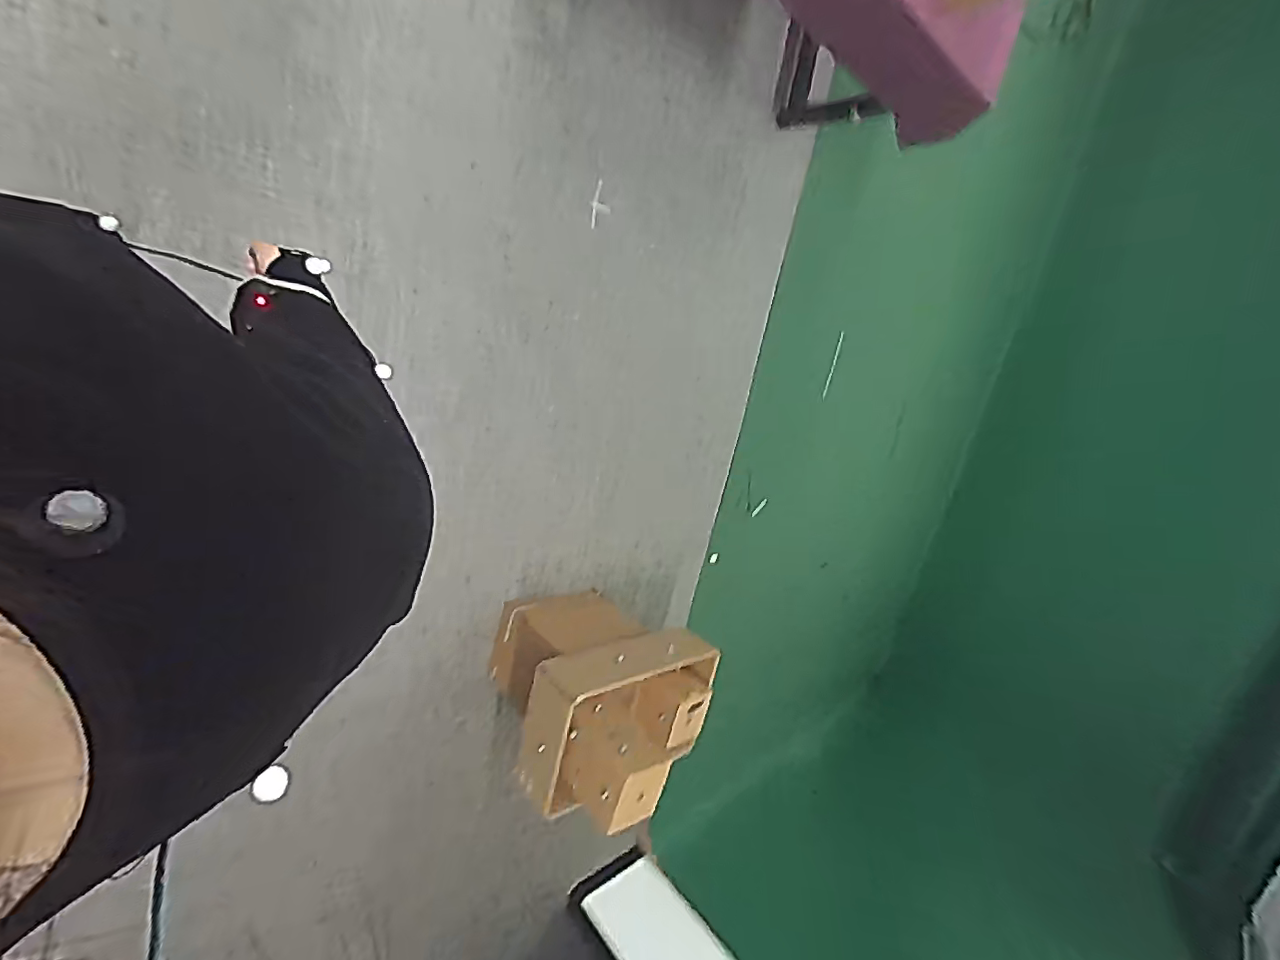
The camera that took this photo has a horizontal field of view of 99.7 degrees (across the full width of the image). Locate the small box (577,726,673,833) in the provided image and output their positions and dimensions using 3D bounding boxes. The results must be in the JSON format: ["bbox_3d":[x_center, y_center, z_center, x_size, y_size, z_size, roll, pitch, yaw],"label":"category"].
[{"bbox_3d":[-0.044,0.784,1.444,0.168,0.176,0.179,9,104,-43],"label":"small box"}]
